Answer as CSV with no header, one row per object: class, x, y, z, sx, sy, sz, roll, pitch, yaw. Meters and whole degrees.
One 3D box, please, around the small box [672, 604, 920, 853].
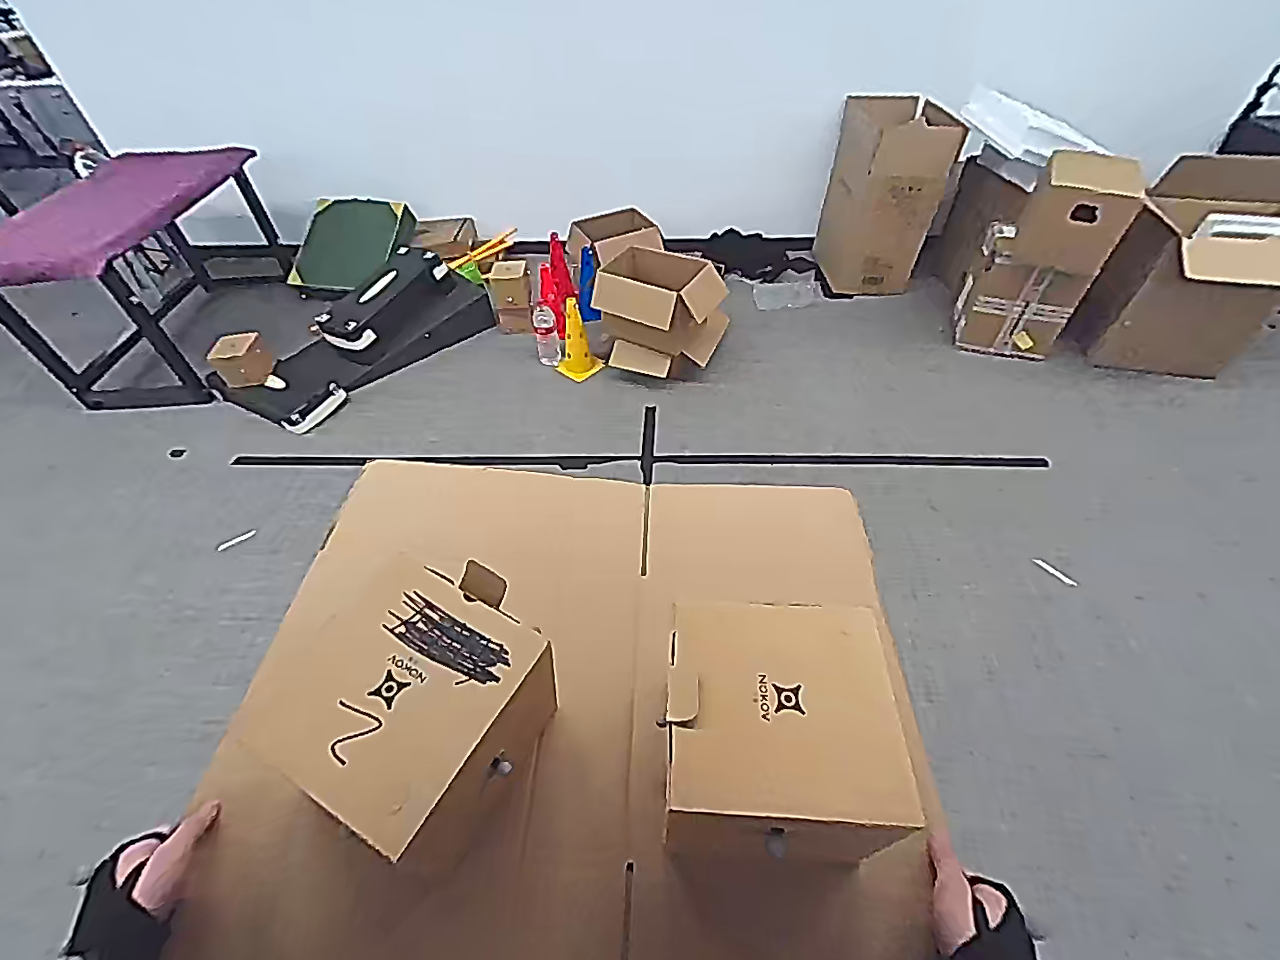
small box,0.120,0.230,0.496,0.179,0.176,0.168,1,48,4
